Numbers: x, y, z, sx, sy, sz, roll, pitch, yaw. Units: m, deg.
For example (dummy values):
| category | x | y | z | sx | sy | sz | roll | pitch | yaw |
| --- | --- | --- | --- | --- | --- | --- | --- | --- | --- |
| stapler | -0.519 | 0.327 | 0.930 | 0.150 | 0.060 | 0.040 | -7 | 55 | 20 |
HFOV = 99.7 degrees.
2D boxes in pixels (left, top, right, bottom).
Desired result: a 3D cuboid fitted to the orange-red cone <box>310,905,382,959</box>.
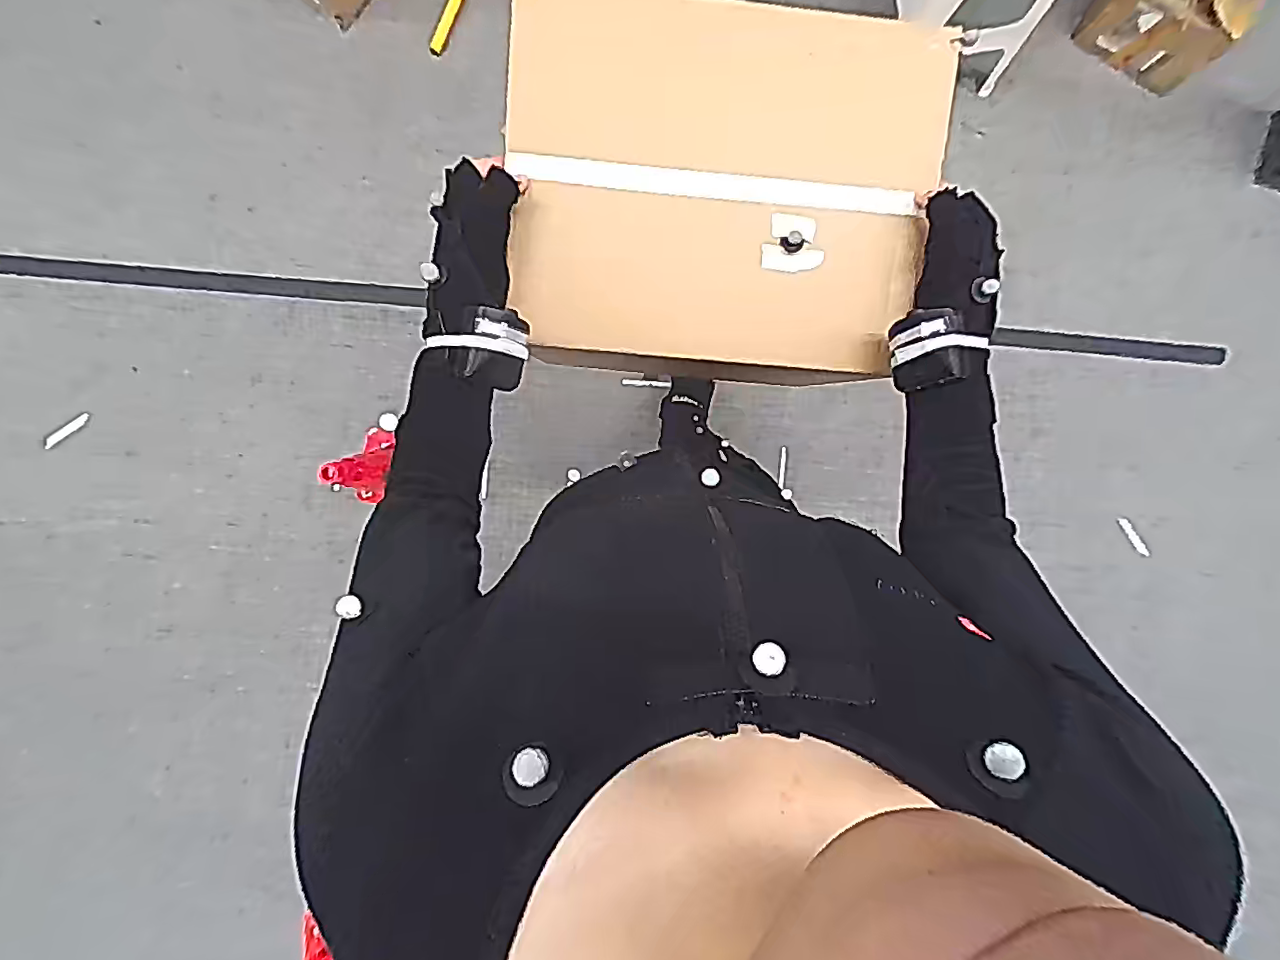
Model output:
| category | x | y | z | sx | sy | sz | roll | pitch | yaw |
| --- | --- | --- | --- | --- | --- | --- | --- | --- | --- |
| orange-red cone | -0.797 | 1.265 | 1.299 | 0.198 | 0.360 | 0.199 | 2 | 93 | -1 |

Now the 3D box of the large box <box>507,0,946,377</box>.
| category | x | y | z | sx | sy | sz | roll | pitch | yaw |
| --- | --- | --- | --- | --- | --- | --- | --- | --- | --- |
| large box | 0.069 | -0.300 | 0.653 | 0.408 | 0.320 | 0.320 | 4 | 98 | -4 |

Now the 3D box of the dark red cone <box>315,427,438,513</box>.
| category | x | y | z | sx | sy | sz | roll | pitch | yaw |
| --- | --- | --- | --- | --- | --- | --- | --- | --- | --- |
| dark red cone | -0.625 | -0.022 | 1.239 | 0.201 | 0.394 | 0.202 | 10 | 92 | -3 |
